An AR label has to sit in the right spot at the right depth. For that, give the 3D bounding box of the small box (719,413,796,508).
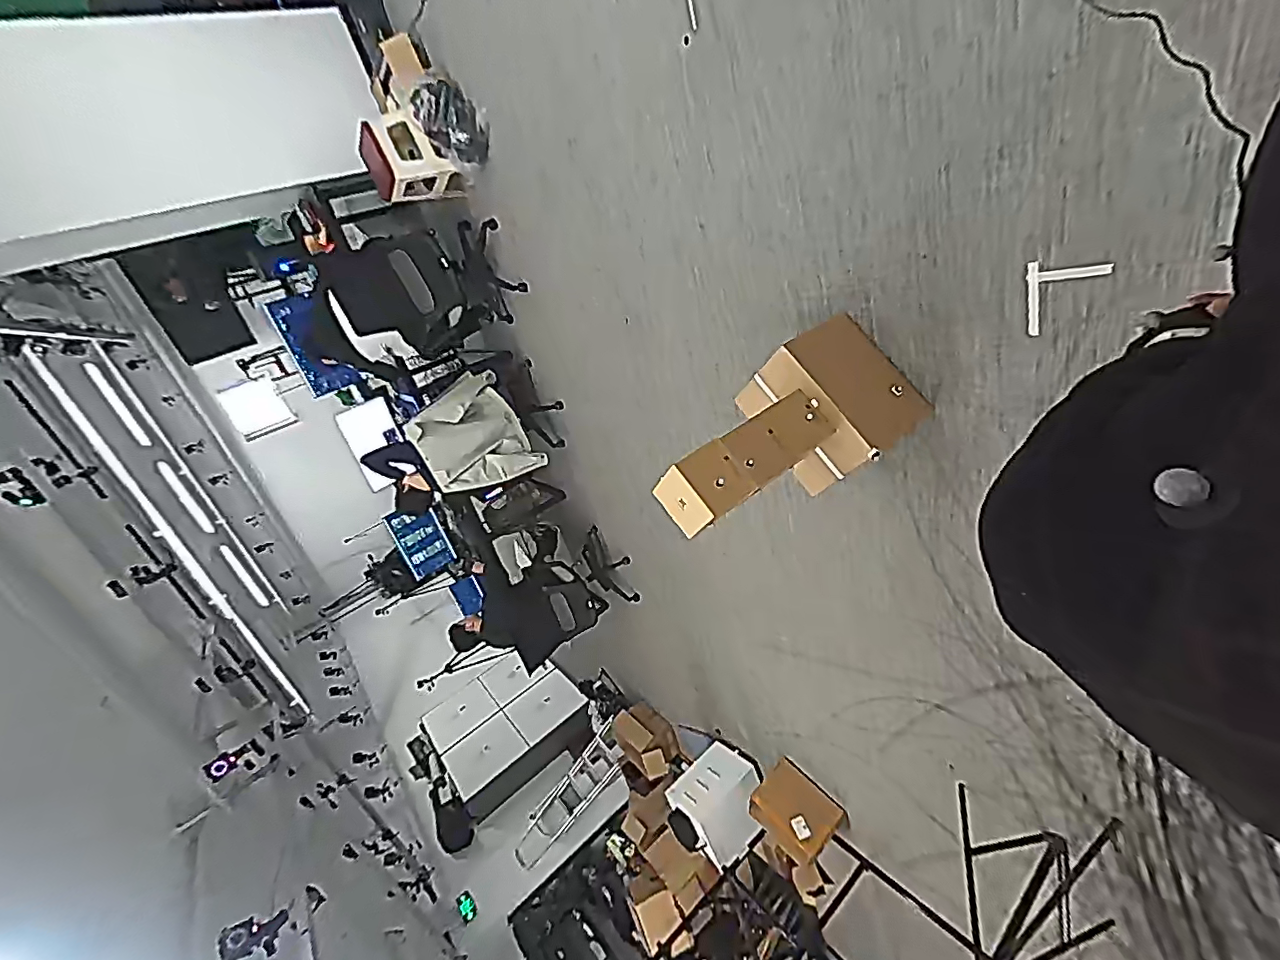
[{"bbox_3d":[0.295,-0.054,1.493,0.168,0.176,0.179,53,153,11],"label":"small box"}]

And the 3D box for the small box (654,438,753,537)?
[{"bbox_3d":[0.170,0.017,1.416,0.168,0.176,0.179,53,152,11],"label":"small box"}]

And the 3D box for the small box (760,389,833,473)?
[{"bbox_3d":[0.420,-0.131,1.565,0.168,0.176,0.179,53,152,11],"label":"small box"}]
